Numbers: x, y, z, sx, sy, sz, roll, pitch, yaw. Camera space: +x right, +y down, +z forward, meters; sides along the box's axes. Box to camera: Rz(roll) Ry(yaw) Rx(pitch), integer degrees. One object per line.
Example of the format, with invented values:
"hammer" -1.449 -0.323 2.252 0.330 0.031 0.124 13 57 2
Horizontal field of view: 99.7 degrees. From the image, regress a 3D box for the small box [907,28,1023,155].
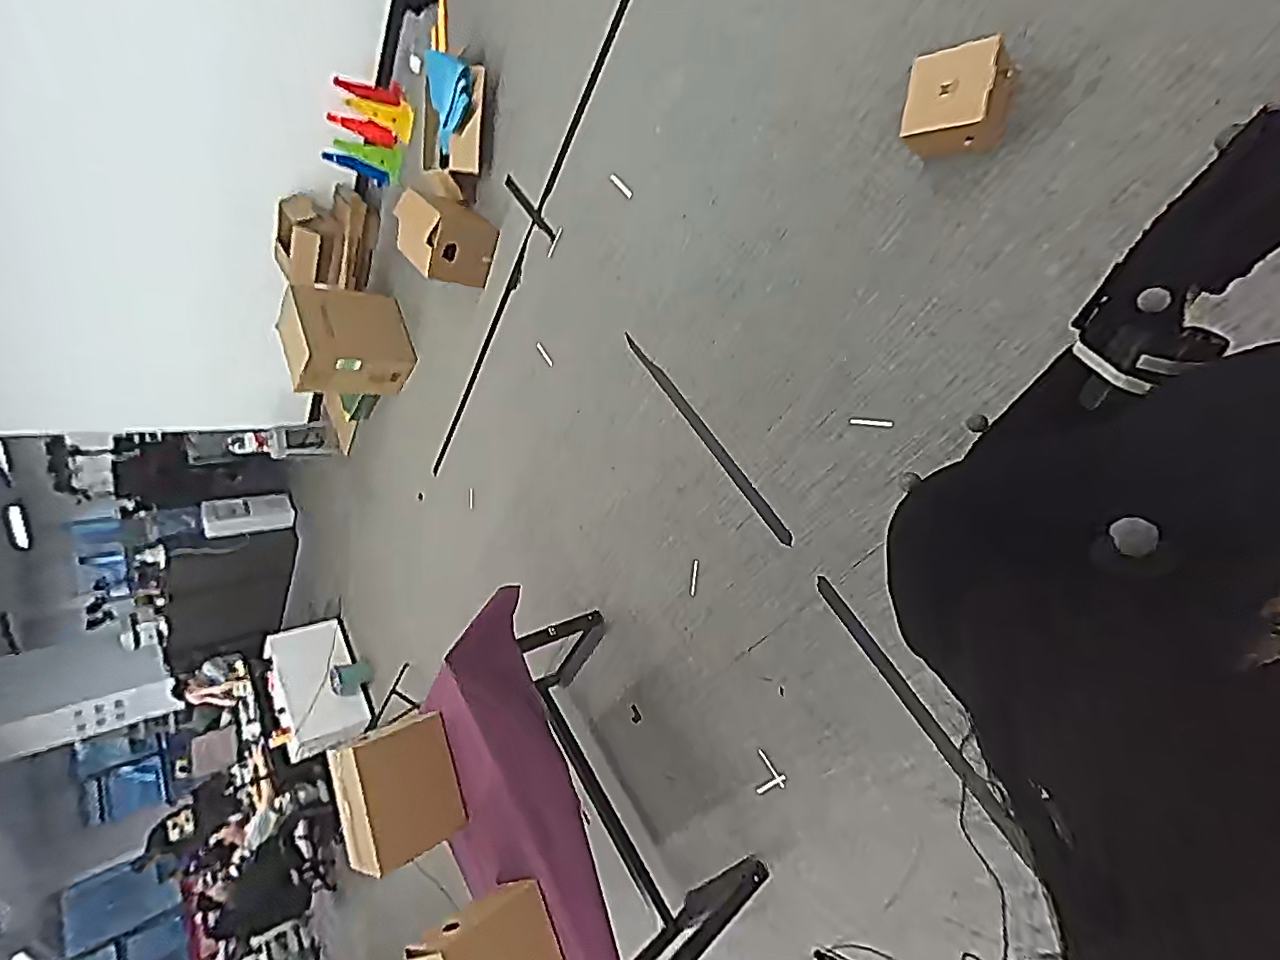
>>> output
"small box" 0.742 -0.870 1.230 0.179 0.176 0.168 17 106 43
